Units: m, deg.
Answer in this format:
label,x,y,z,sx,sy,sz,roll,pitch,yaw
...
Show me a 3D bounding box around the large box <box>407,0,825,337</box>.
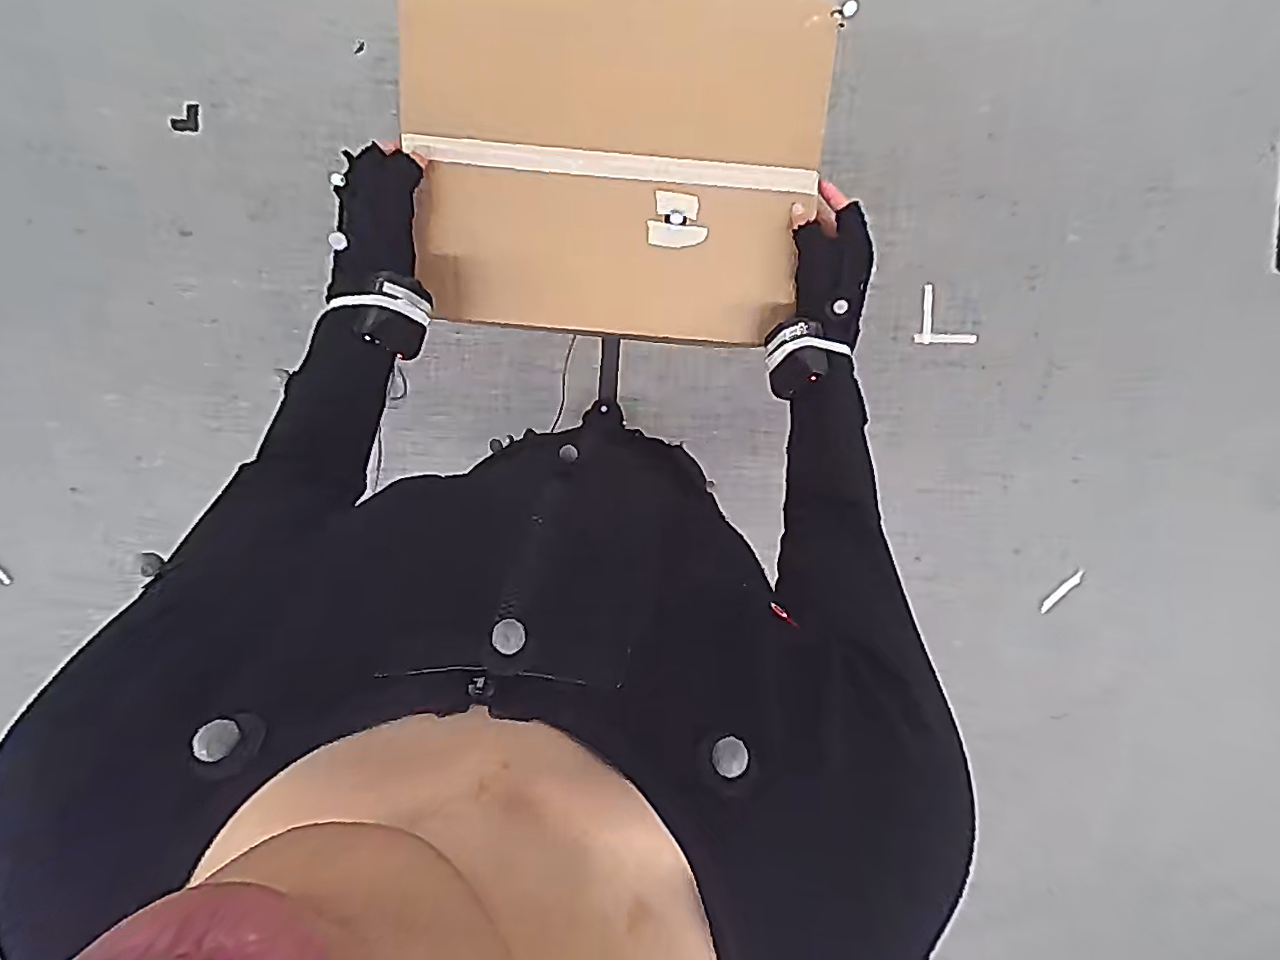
label,x,y,z,sx,sy,sz,roll,pitch,yaw
large box,-0.034,-0.353,0.686,0.408,0.320,0.320,3,104,-3
